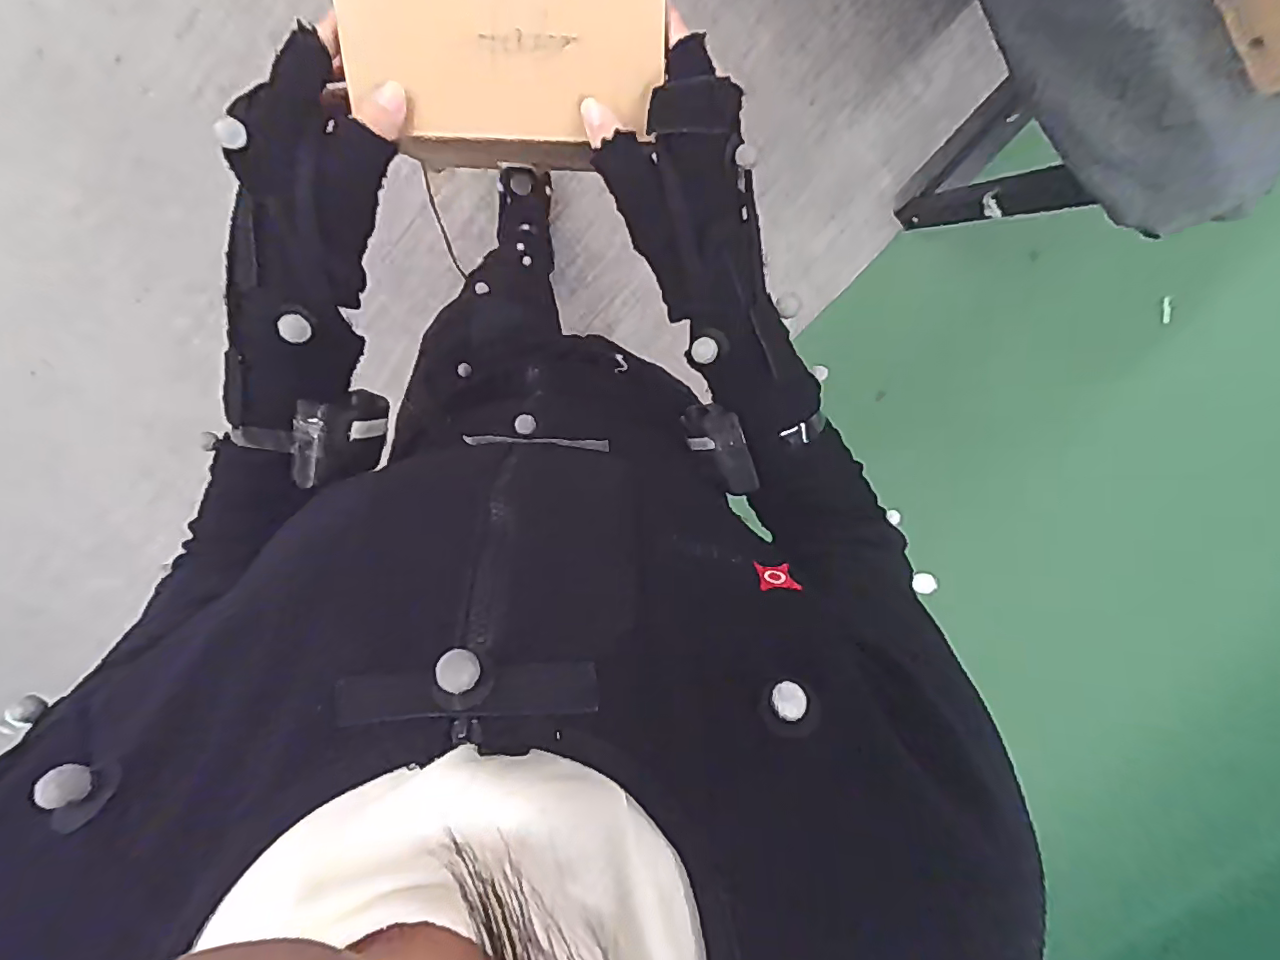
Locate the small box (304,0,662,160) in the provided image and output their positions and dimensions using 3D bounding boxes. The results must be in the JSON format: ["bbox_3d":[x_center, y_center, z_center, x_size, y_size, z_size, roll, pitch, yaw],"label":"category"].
[{"bbox_3d":[-0.074,-0.297,0.305,0.168,0.176,0.179,2,115,-4],"label":"small box"}]
